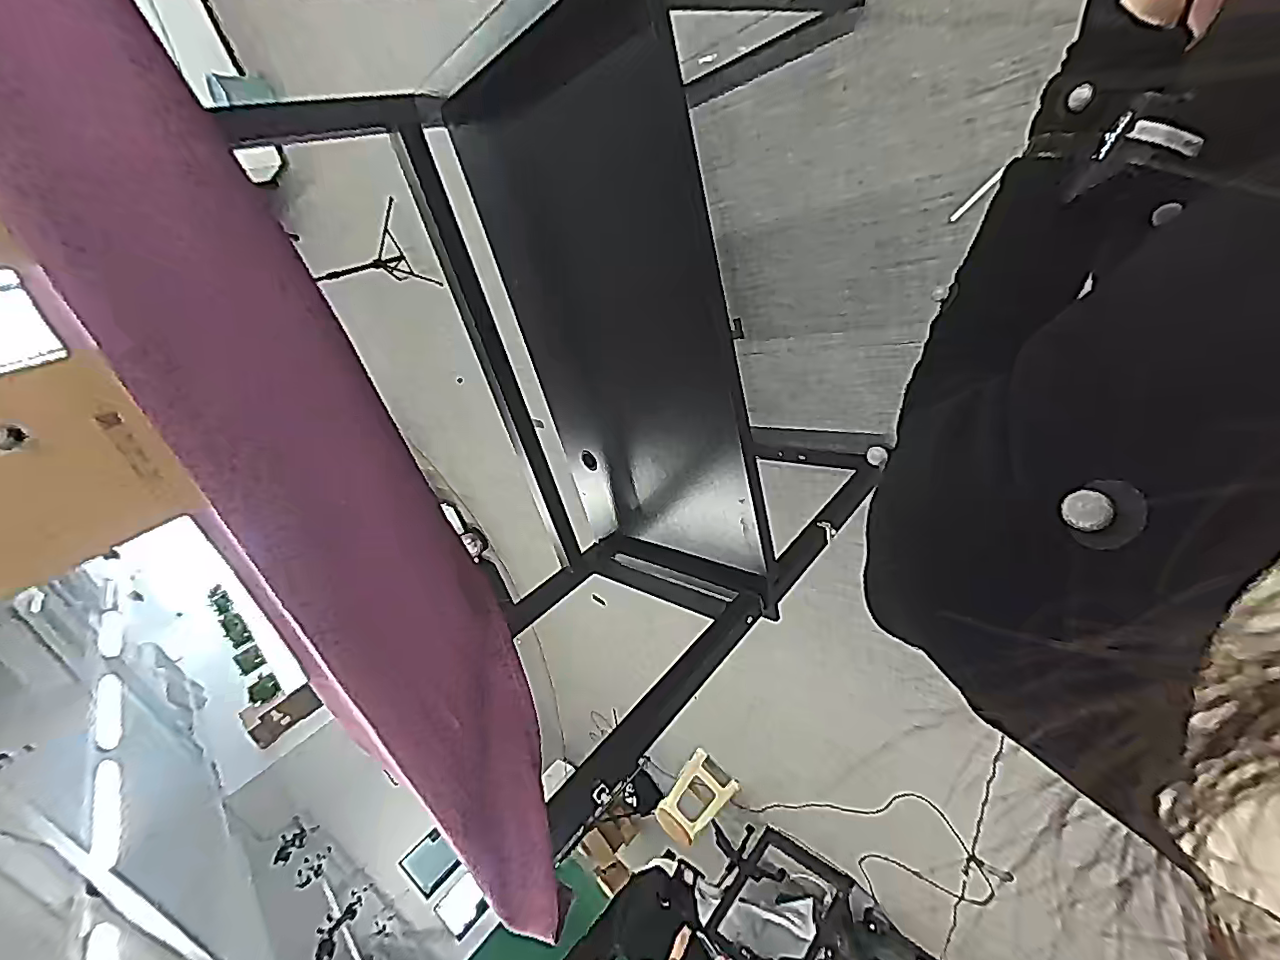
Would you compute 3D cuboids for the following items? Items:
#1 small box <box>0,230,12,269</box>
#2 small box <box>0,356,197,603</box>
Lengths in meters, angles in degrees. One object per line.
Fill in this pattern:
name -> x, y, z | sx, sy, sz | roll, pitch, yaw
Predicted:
small box -> -0.625, -0.234, 0.388 | 0.179, 0.176, 0.168 | 3, 122, 49
small box -> -0.562, -0.009, 0.512 | 0.179, 0.176, 0.168 | 6, 123, 48
